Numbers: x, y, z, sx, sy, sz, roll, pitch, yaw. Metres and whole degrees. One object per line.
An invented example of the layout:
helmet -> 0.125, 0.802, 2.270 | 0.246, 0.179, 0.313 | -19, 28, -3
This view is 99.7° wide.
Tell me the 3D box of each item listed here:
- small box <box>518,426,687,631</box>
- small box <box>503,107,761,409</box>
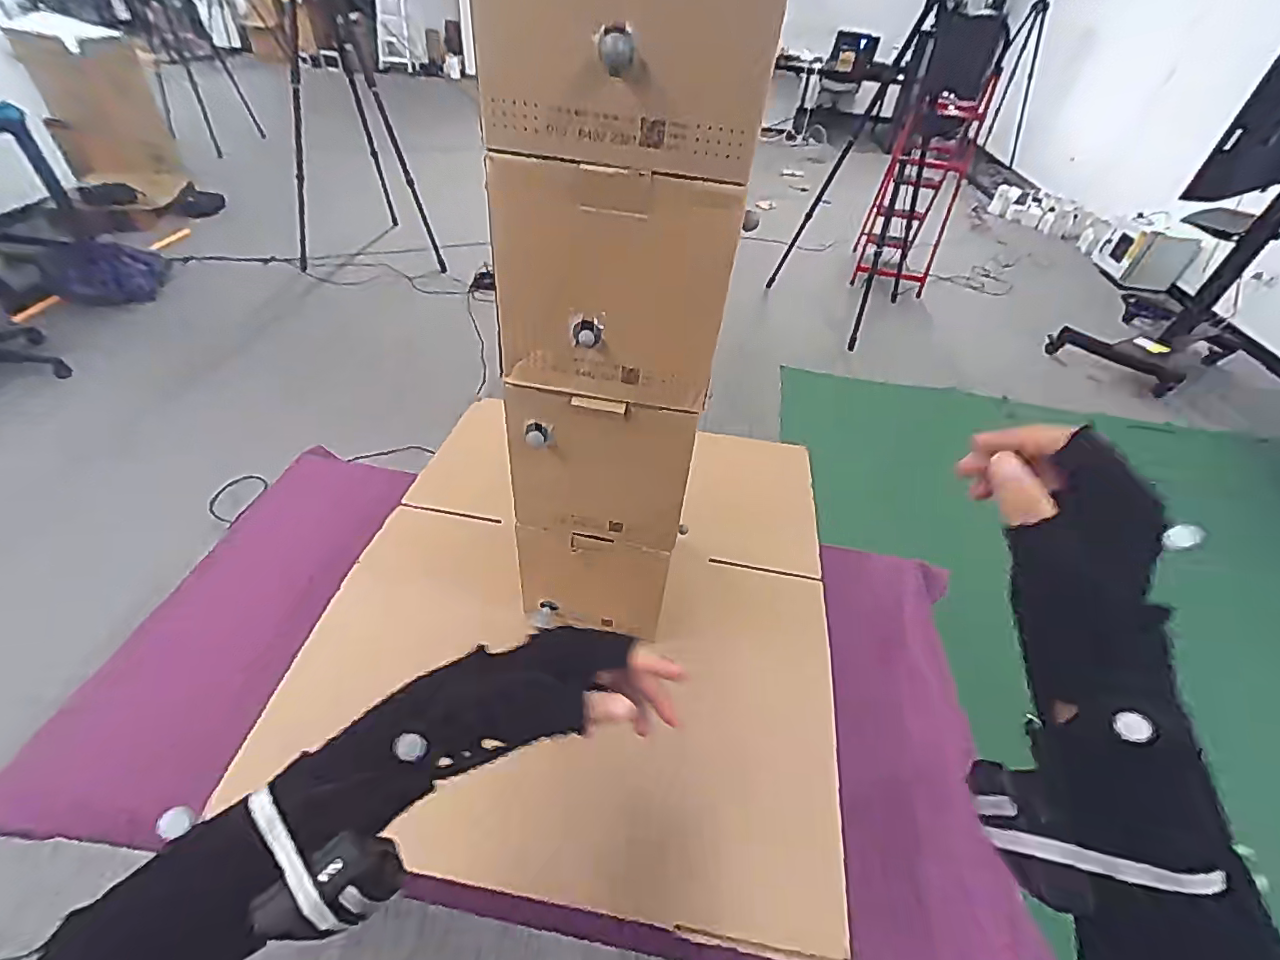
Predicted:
small box -> -0.040, 0.061, 0.660 | 0.168, 0.176, 0.179 | 8, 44, 2
small box -> -0.004, -0.184, 0.444 | 0.168, 0.176, 0.179 | 10, 42, 2
